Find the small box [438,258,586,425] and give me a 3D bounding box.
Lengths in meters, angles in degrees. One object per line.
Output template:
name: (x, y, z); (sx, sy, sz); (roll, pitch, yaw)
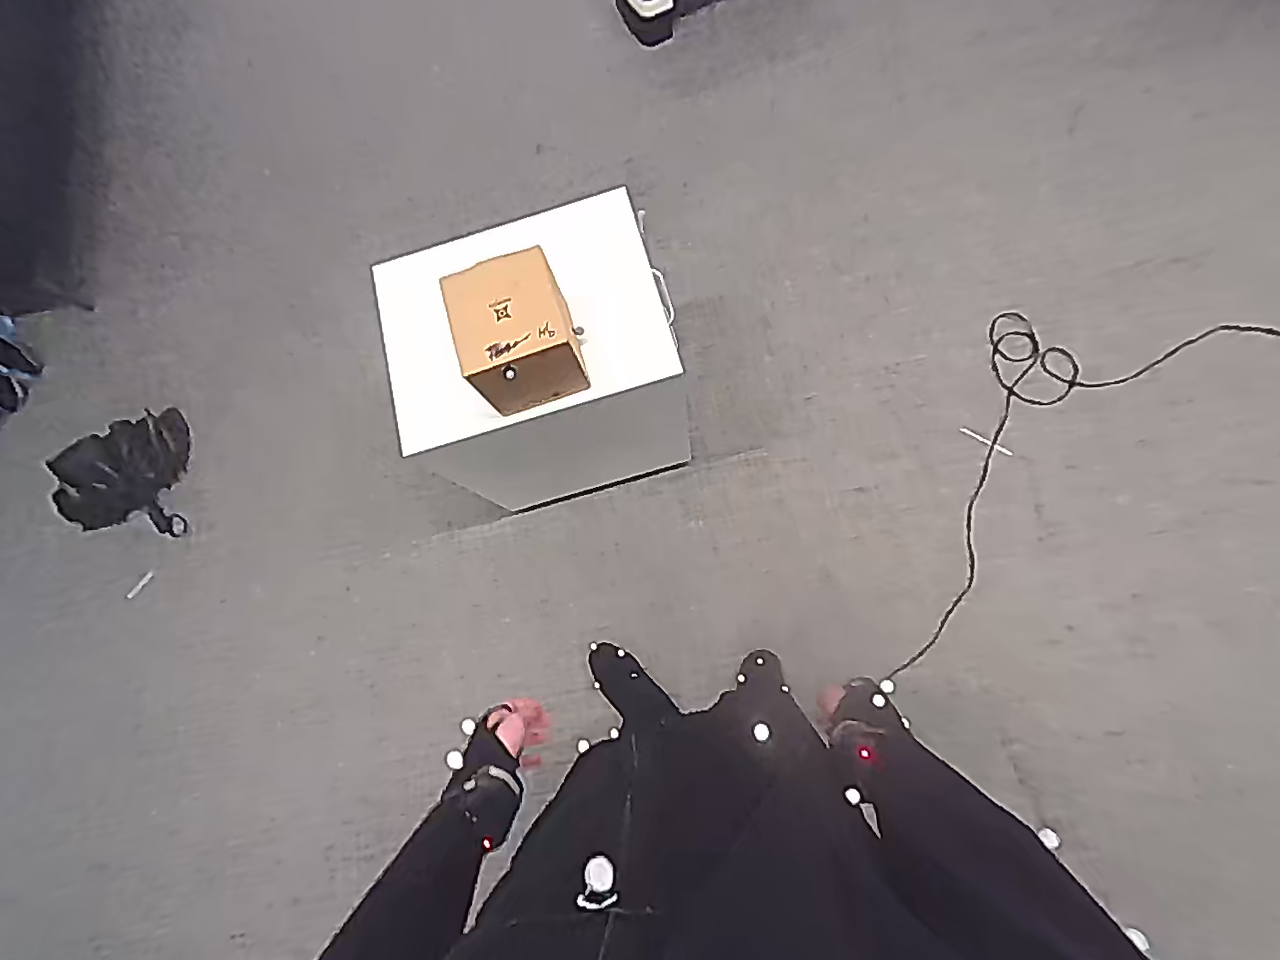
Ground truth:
small box: (-0.200, -0.215, 0.877); (0.168, 0.176, 0.179); (-19, 73, 1)
